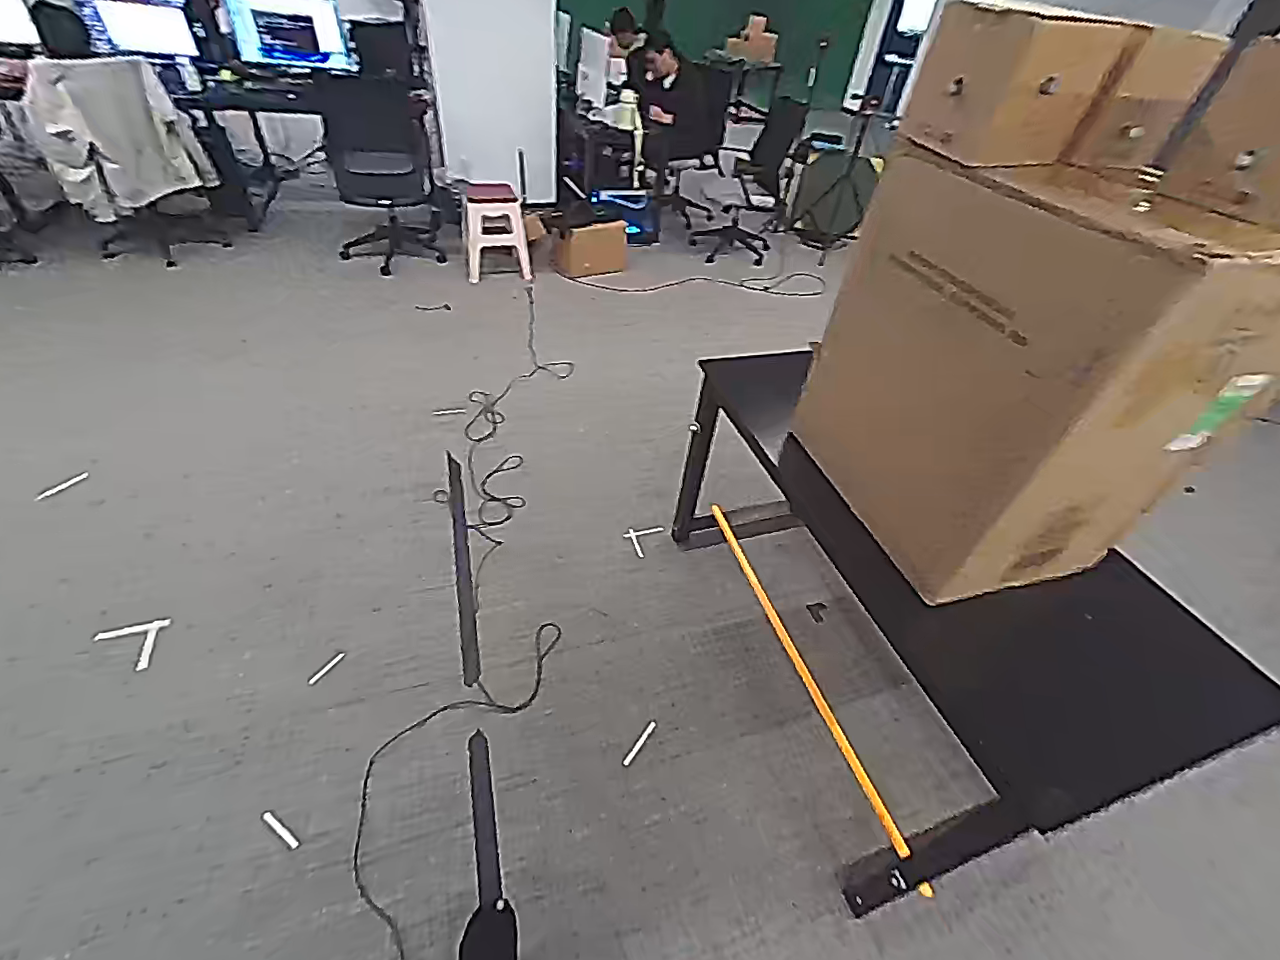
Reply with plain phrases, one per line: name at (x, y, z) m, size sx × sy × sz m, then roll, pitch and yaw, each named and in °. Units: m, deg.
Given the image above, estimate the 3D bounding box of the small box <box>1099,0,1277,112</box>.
small box at (0.731, -0.650, 0.772) m, size 0.168 × 0.176 × 0.179 m, roll -7°, pitch 47°, yaw -17°

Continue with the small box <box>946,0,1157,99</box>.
small box at (0.540, -0.616, 0.706) m, size 0.179 × 0.176 × 0.168 m, roll -14°, pitch 51°, yaw -18°
